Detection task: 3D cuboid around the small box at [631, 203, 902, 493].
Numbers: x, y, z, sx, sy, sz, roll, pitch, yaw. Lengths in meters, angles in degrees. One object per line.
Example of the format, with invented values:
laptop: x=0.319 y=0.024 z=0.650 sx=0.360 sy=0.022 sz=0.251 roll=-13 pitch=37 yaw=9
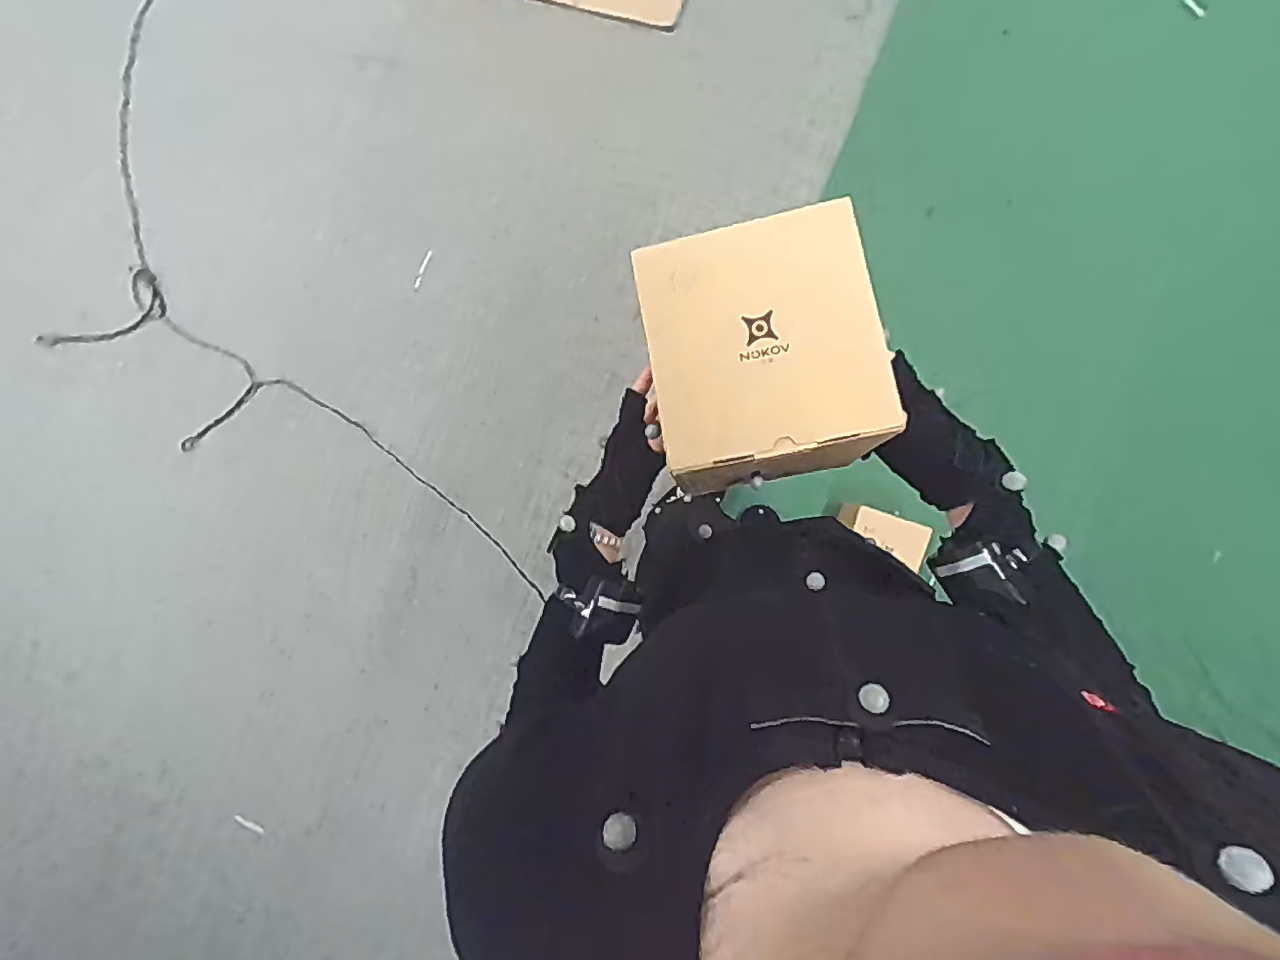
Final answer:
small box: x=0.096 y=-0.095 z=0.470 sx=0.168 sy=0.176 sz=0.179 roll=-13 pitch=82 yaw=7
